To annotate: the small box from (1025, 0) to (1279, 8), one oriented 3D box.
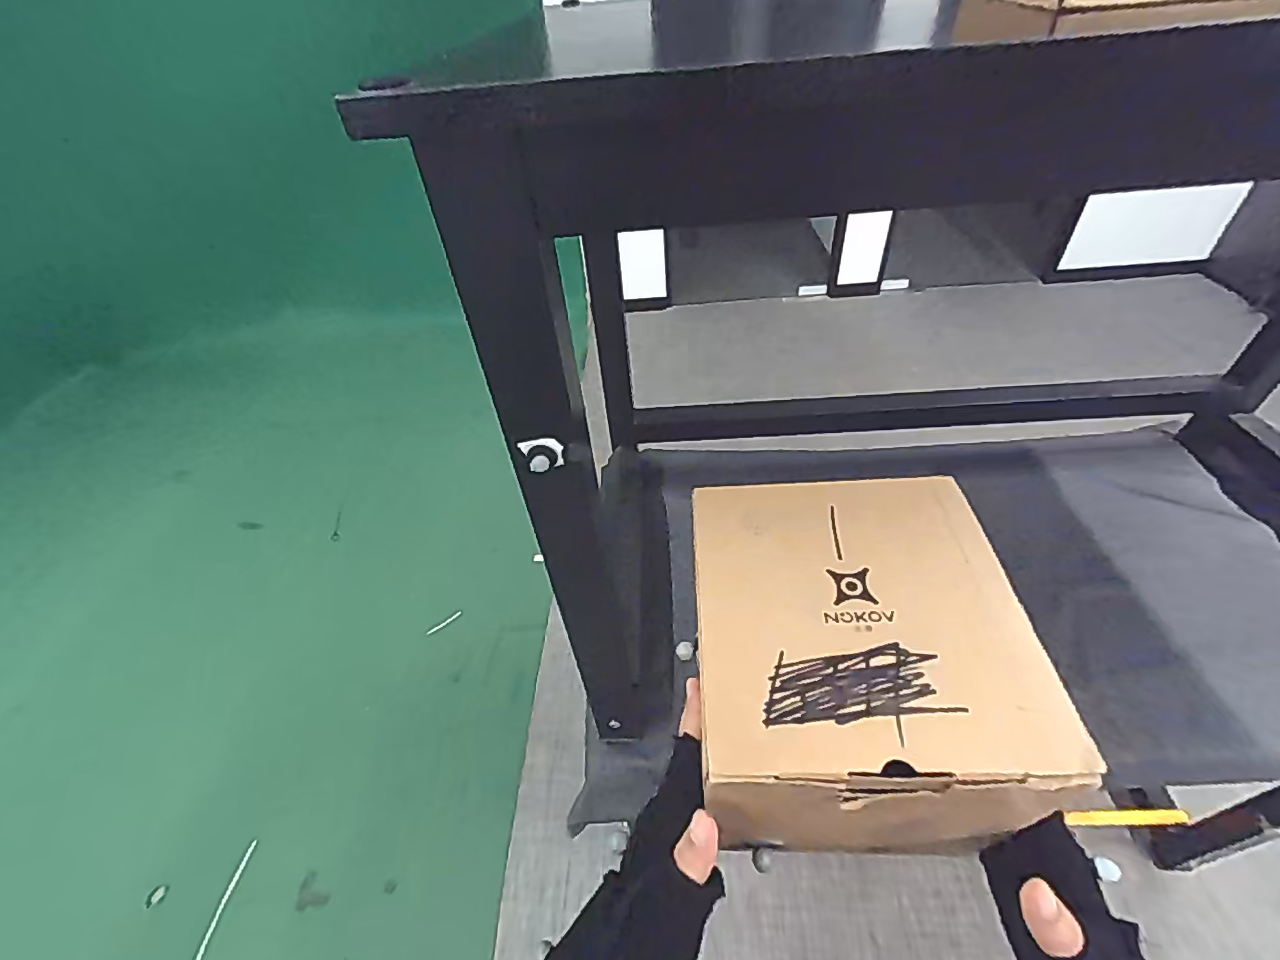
[{"bbox_3d":[0.292,-0.337,0.252,0.168,0.176,0.179,3,44,10],"label":"small box"}]
